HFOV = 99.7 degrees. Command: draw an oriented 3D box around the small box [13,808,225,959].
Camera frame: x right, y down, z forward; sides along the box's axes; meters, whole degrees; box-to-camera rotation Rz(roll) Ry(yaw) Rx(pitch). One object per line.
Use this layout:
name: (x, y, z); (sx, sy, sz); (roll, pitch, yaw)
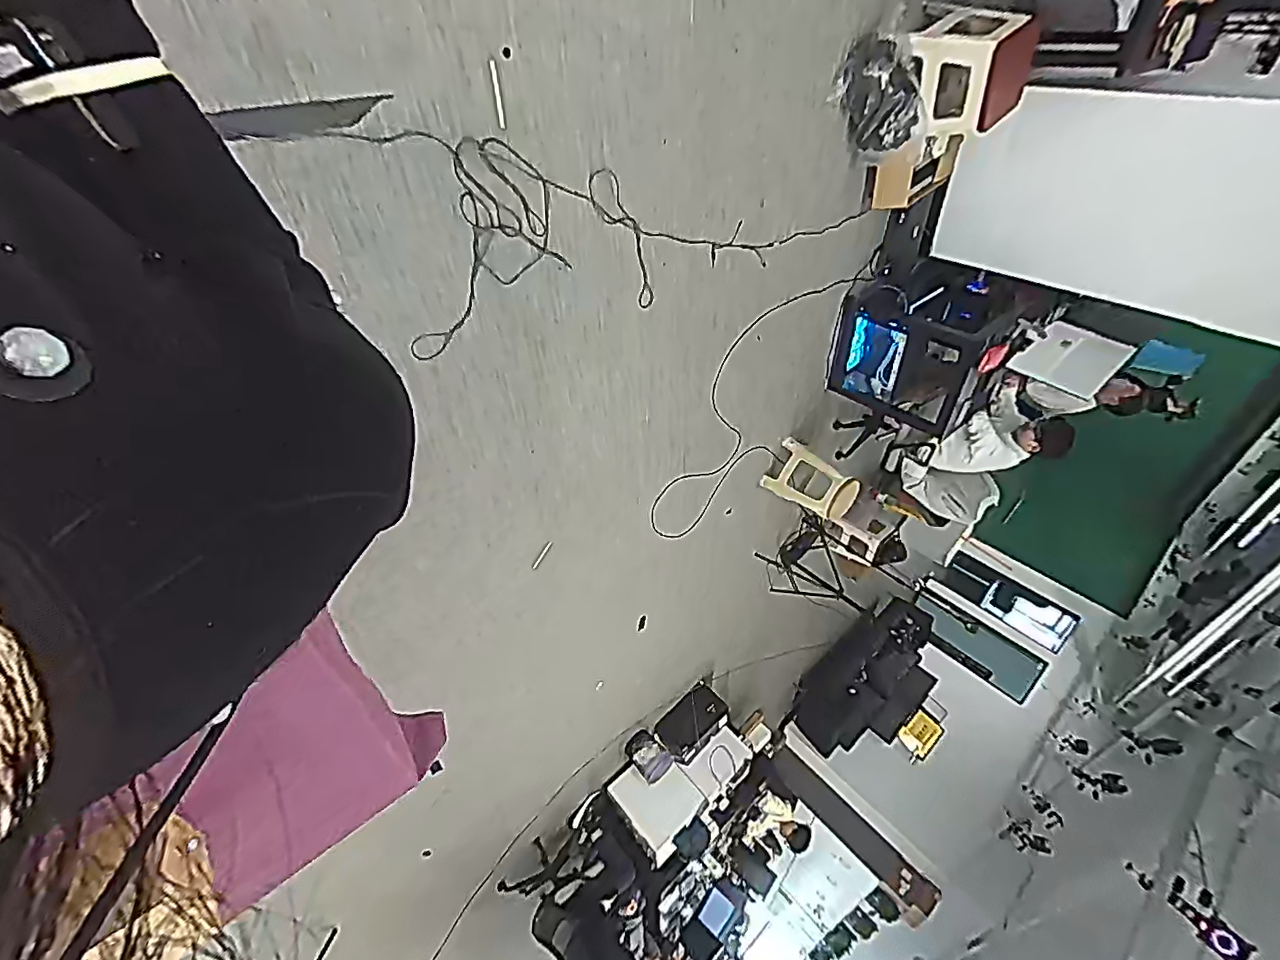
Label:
small box: (-0.766, 0.644, 0.804); (0.179, 0.176, 0.168); (-28, 137, -31)
